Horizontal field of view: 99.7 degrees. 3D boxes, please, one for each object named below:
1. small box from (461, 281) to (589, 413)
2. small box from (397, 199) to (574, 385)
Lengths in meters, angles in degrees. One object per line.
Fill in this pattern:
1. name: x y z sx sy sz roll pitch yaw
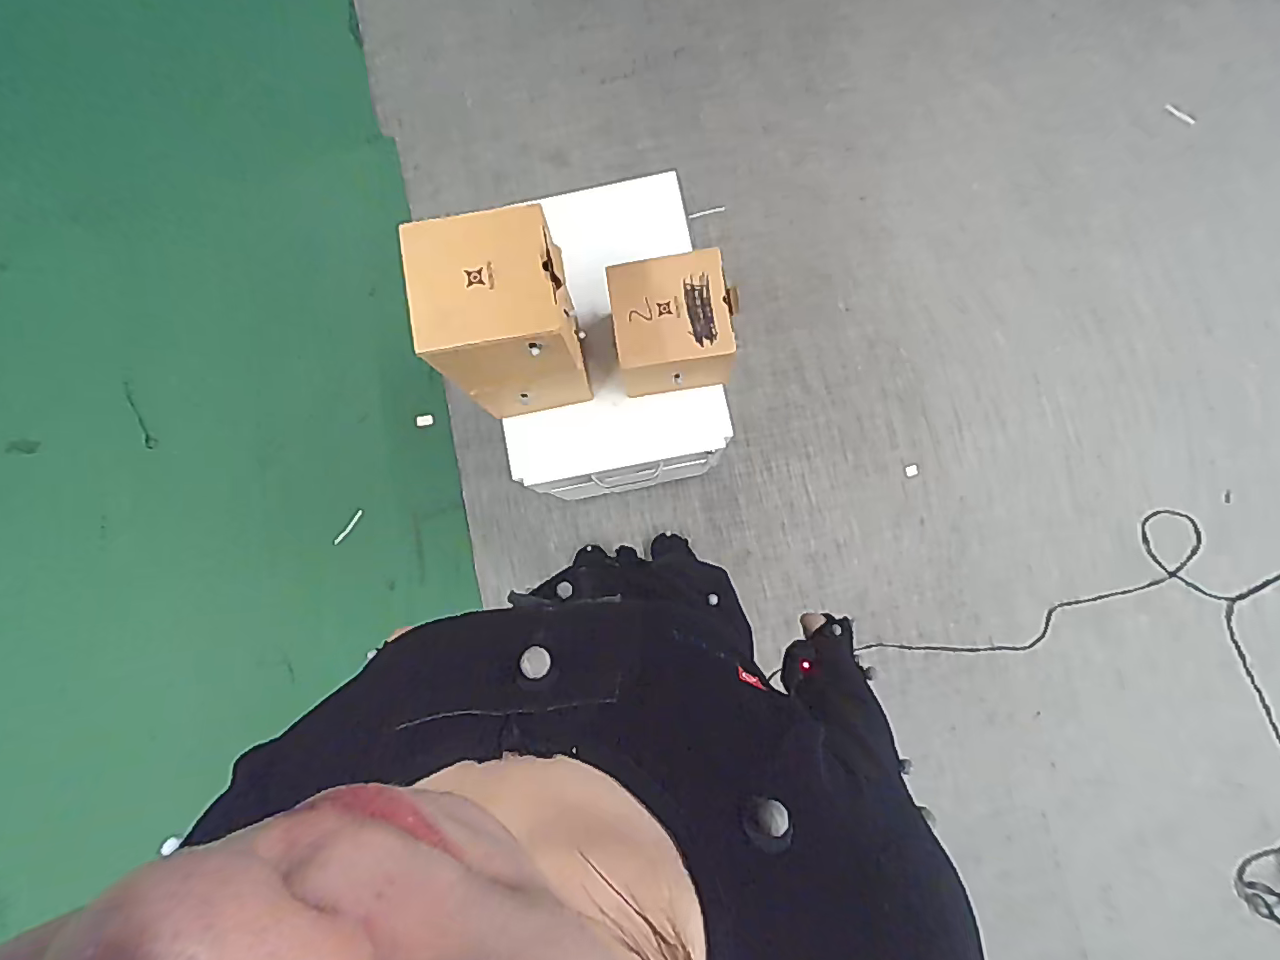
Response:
1. small box: -0.190 -0.218 0.882 0.179 0.176 0.168 -12 85 0
2. small box: -0.194 -0.236 0.720 0.179 0.176 0.168 -10 84 -1
